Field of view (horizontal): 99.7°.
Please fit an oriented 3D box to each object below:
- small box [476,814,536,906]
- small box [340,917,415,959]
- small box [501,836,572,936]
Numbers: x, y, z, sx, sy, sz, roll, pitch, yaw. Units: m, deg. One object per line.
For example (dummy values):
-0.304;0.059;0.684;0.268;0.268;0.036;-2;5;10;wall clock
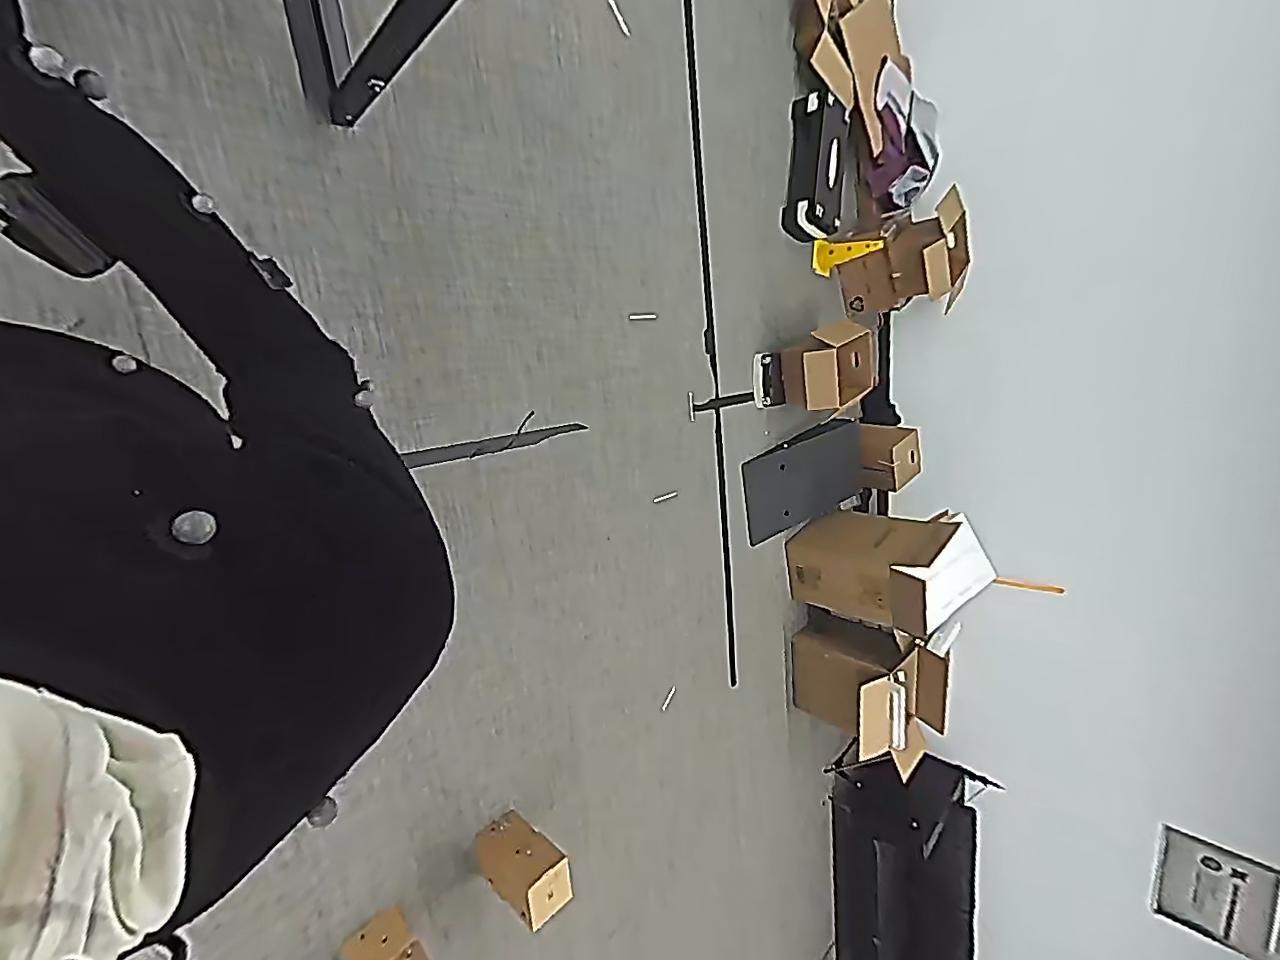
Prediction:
-0.475;1.368;1.959;0.168;0.176;0.179;-16;107;-44;small box
-0.793;1.500;1.658;0.168;0.176;0.179;-22;111;-41;small box
-0.354;1.378;1.848;0.168;0.176;0.179;-16;106;-44;small box
